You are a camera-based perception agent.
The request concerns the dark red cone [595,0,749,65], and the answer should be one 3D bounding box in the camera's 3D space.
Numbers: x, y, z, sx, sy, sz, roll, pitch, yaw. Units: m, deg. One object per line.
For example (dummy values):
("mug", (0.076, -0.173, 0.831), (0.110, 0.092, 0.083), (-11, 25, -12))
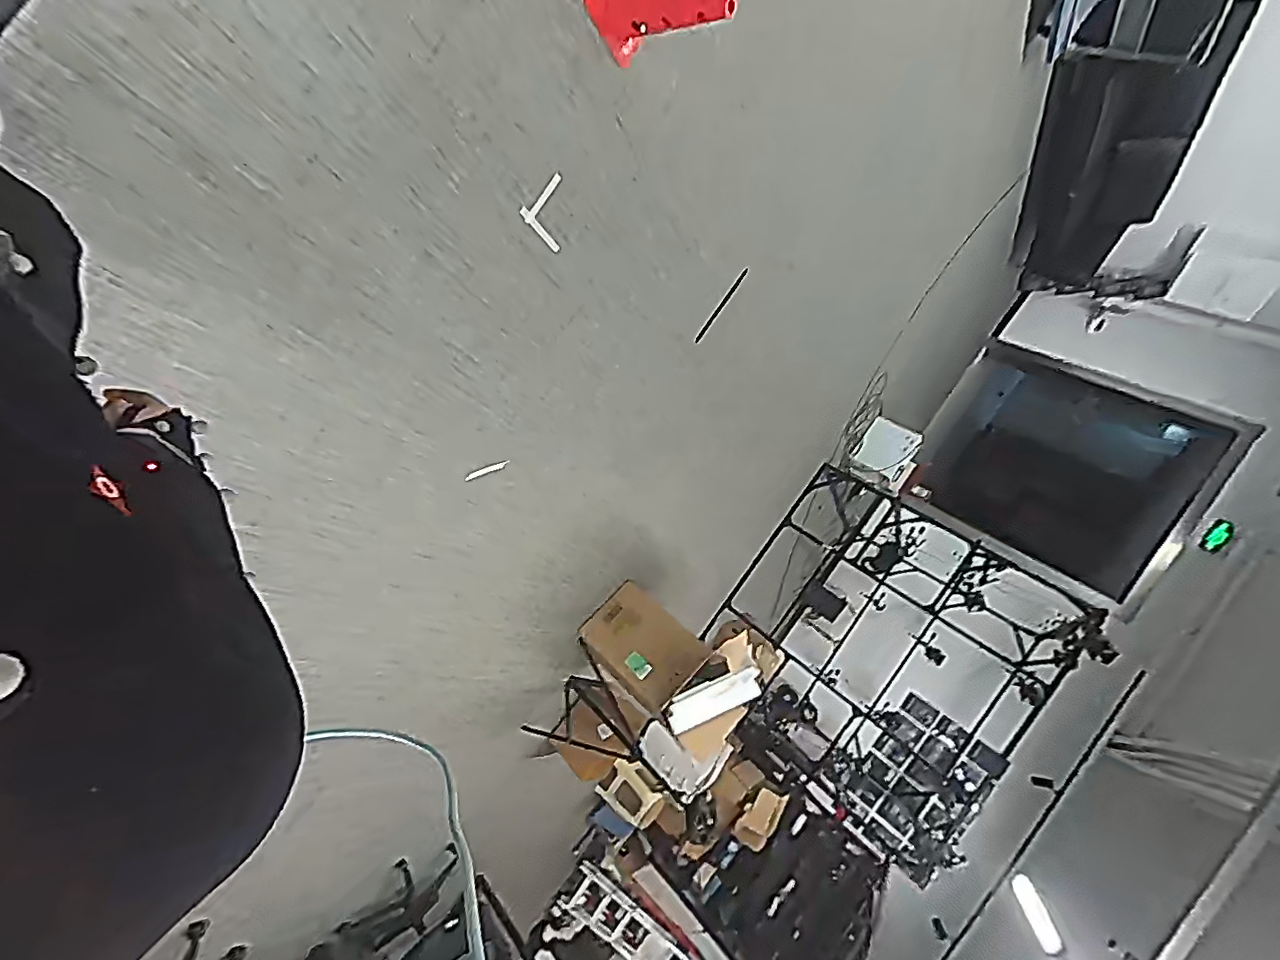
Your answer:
("dark red cone", (0.095, -1.128, 1.274), (0.202, 0.394, 0.201), (-58, 147, 5))
